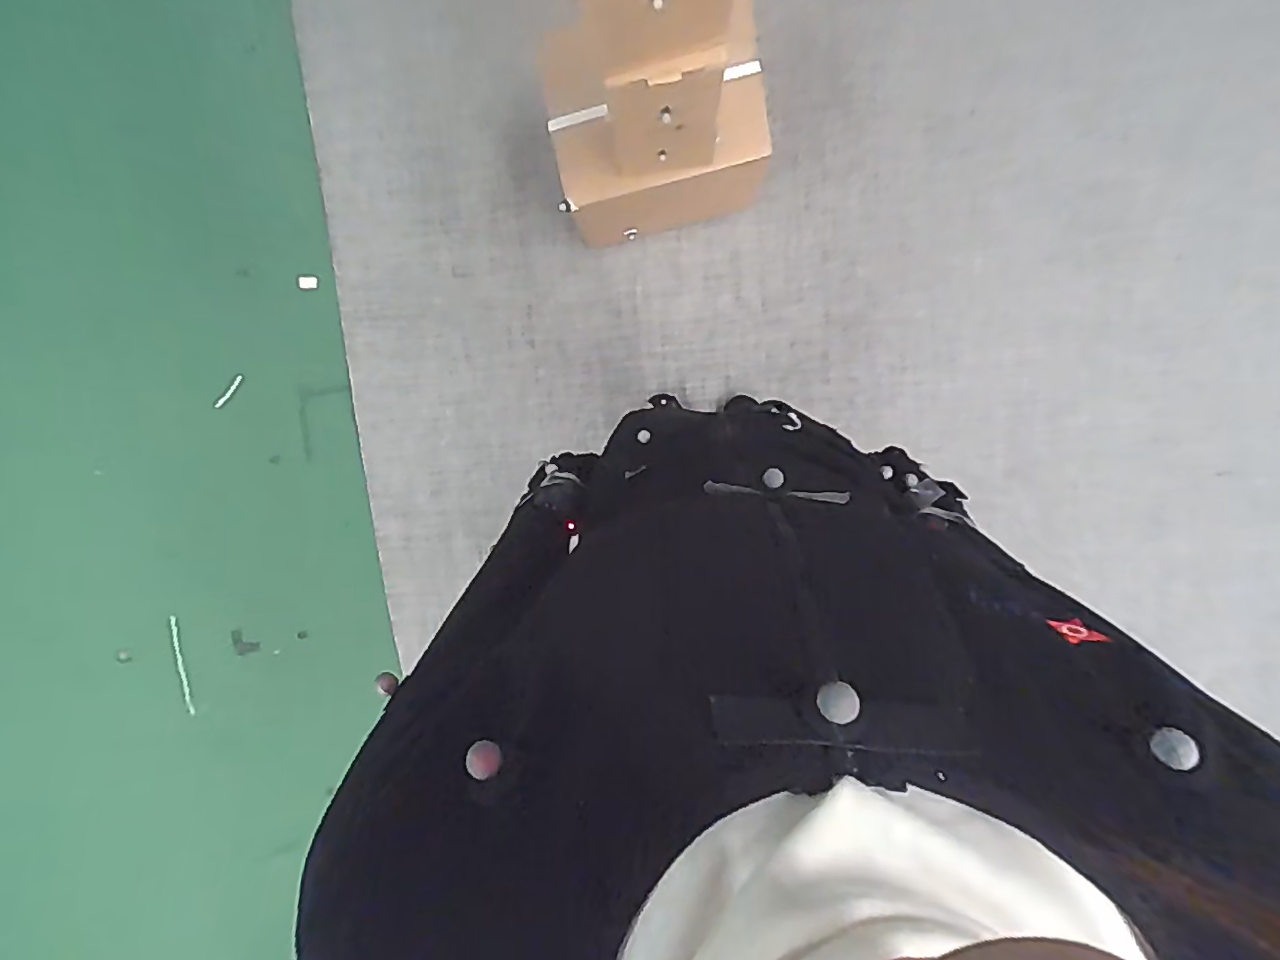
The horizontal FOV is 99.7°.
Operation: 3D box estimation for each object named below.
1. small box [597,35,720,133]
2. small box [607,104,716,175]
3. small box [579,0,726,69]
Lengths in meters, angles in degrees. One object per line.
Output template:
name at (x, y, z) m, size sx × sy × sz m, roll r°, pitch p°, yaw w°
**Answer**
small box at (0.023, -0.635, 0.786) m, size 0.168 × 0.176 × 0.179 m, roll -6°, pitch 99°, yaw 4°
small box at (0.033, -0.661, 0.946) m, size 0.179 × 0.176 × 0.168 m, roll -6°, pitch 99°, yaw 5°
small box at (0.005, -0.621, 0.624) m, size 0.179 × 0.176 × 0.168 m, roll -12°, pitch 99°, yaw 5°
